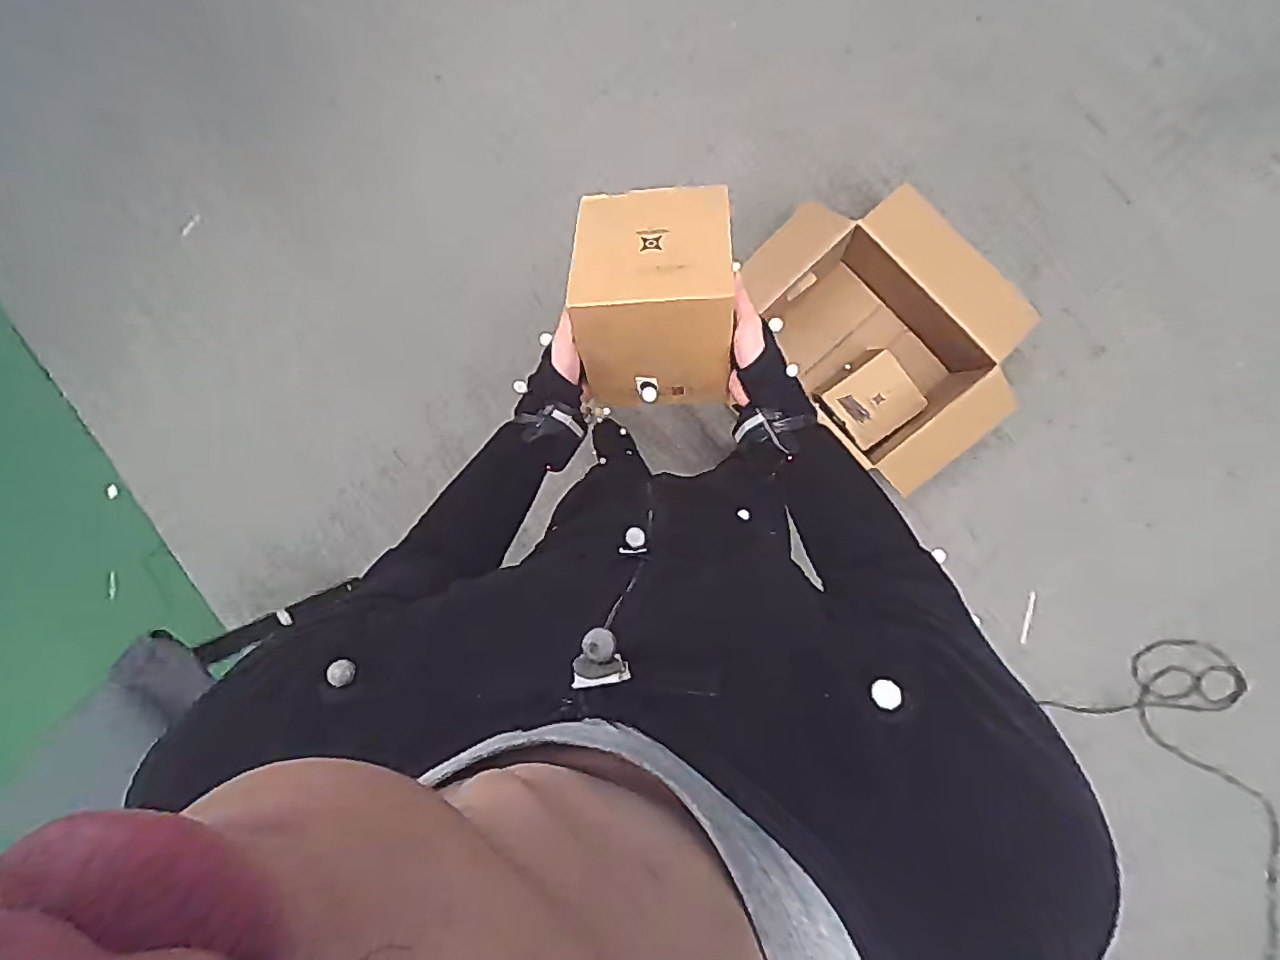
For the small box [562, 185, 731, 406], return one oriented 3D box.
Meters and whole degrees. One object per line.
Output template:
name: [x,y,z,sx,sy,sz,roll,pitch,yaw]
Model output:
small box: [0.016,-0.206,0.627,0.168,0.176,0.179,-2,62,7]
